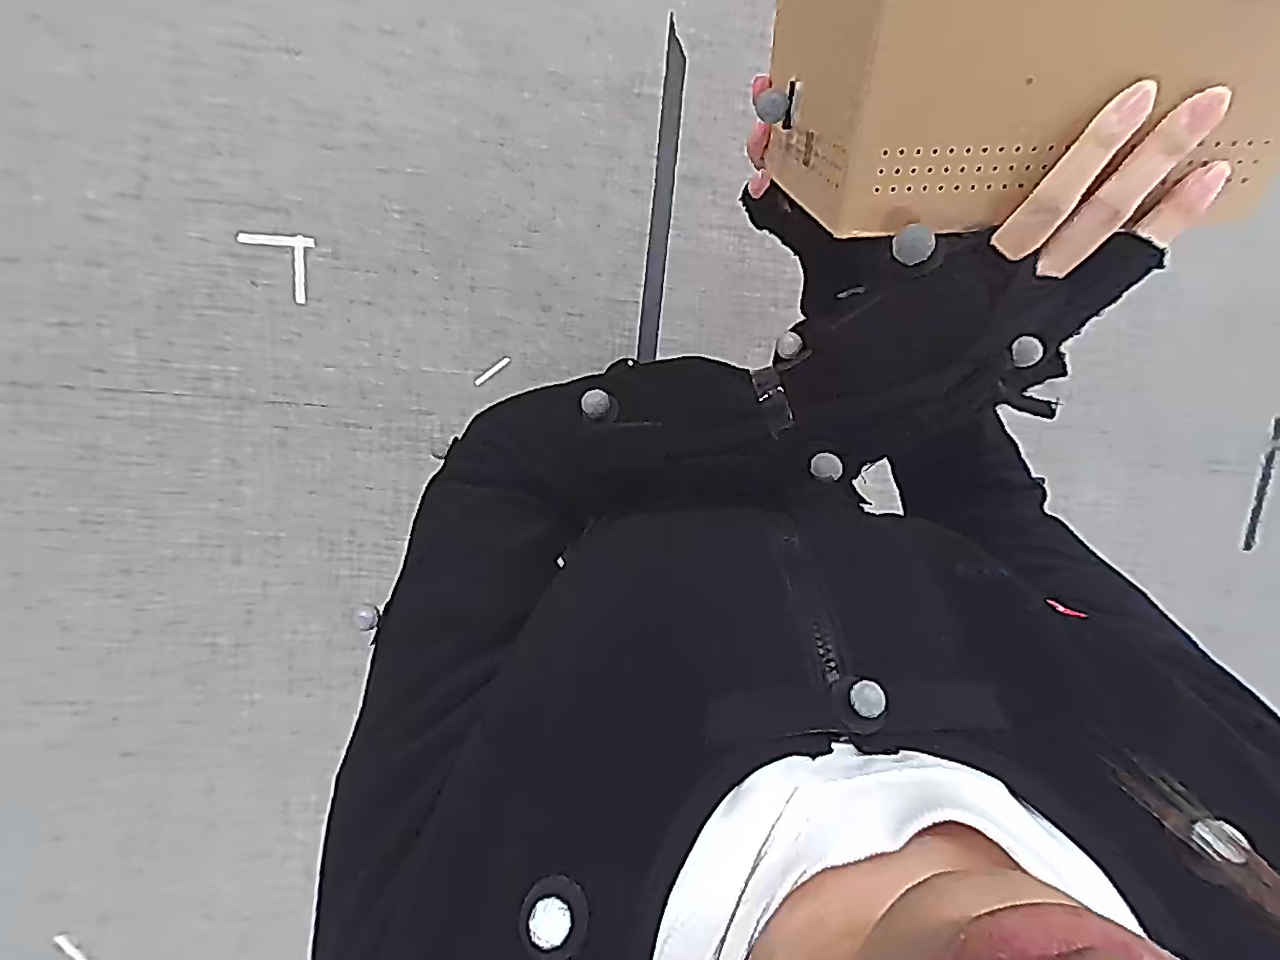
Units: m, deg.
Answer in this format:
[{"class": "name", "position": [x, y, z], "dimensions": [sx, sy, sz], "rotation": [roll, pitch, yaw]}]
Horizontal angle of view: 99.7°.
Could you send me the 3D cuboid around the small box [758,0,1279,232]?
[{"class": "small box", "position": [0.163, -0.226, 0.255], "dimensions": [0.179, 0.168, 0.176], "rotation": [-1, 128, 1]}]
